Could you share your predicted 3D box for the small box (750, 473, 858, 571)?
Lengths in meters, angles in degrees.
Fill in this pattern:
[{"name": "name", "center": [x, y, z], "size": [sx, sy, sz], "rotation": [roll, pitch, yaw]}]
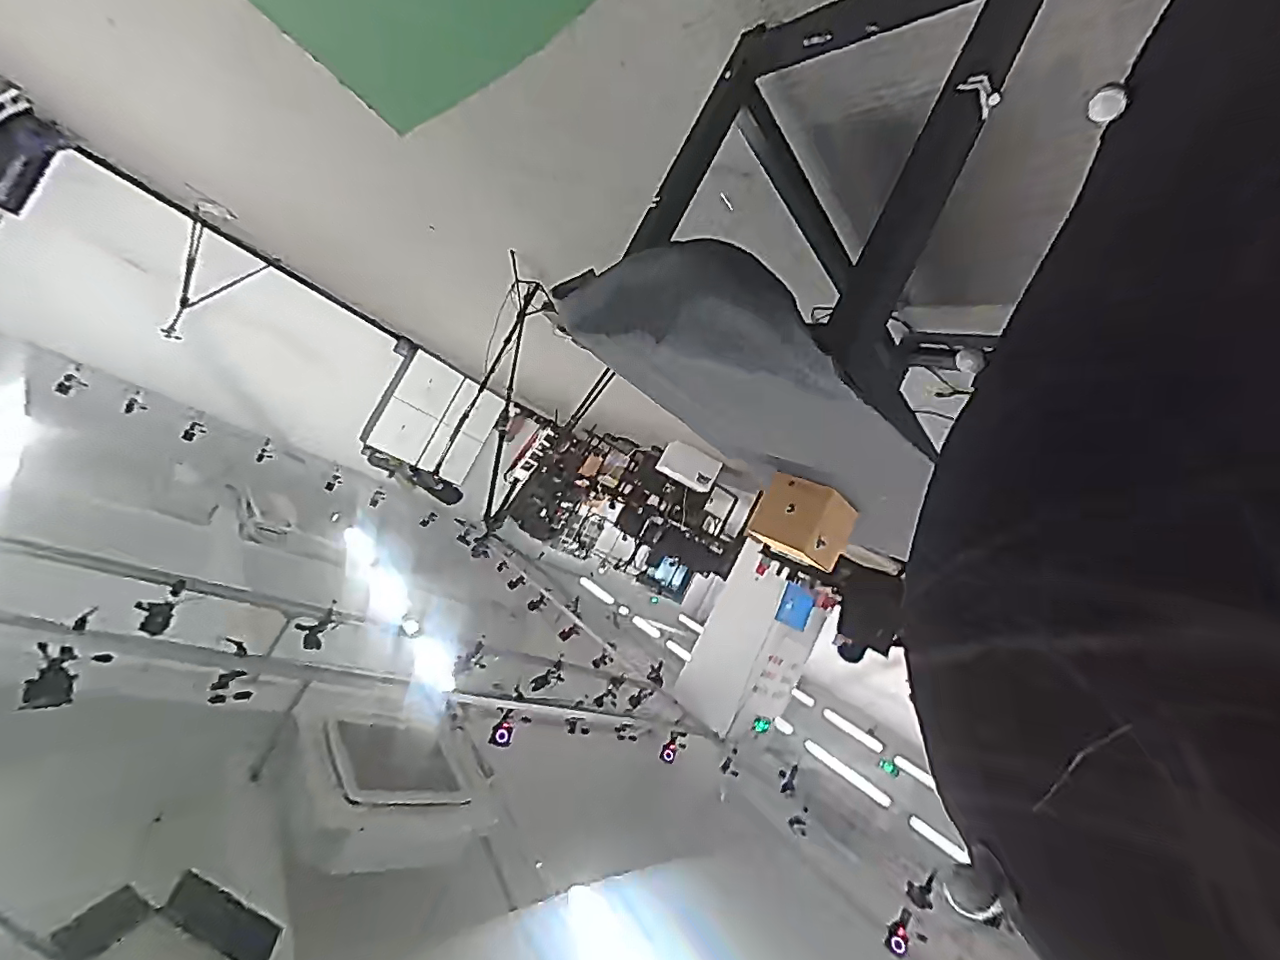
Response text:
[{"name": "small box", "center": [0.407, 0.100, 1.335], "size": [0.168, 0.176, 0.179], "rotation": [23, 174, 45]}]
